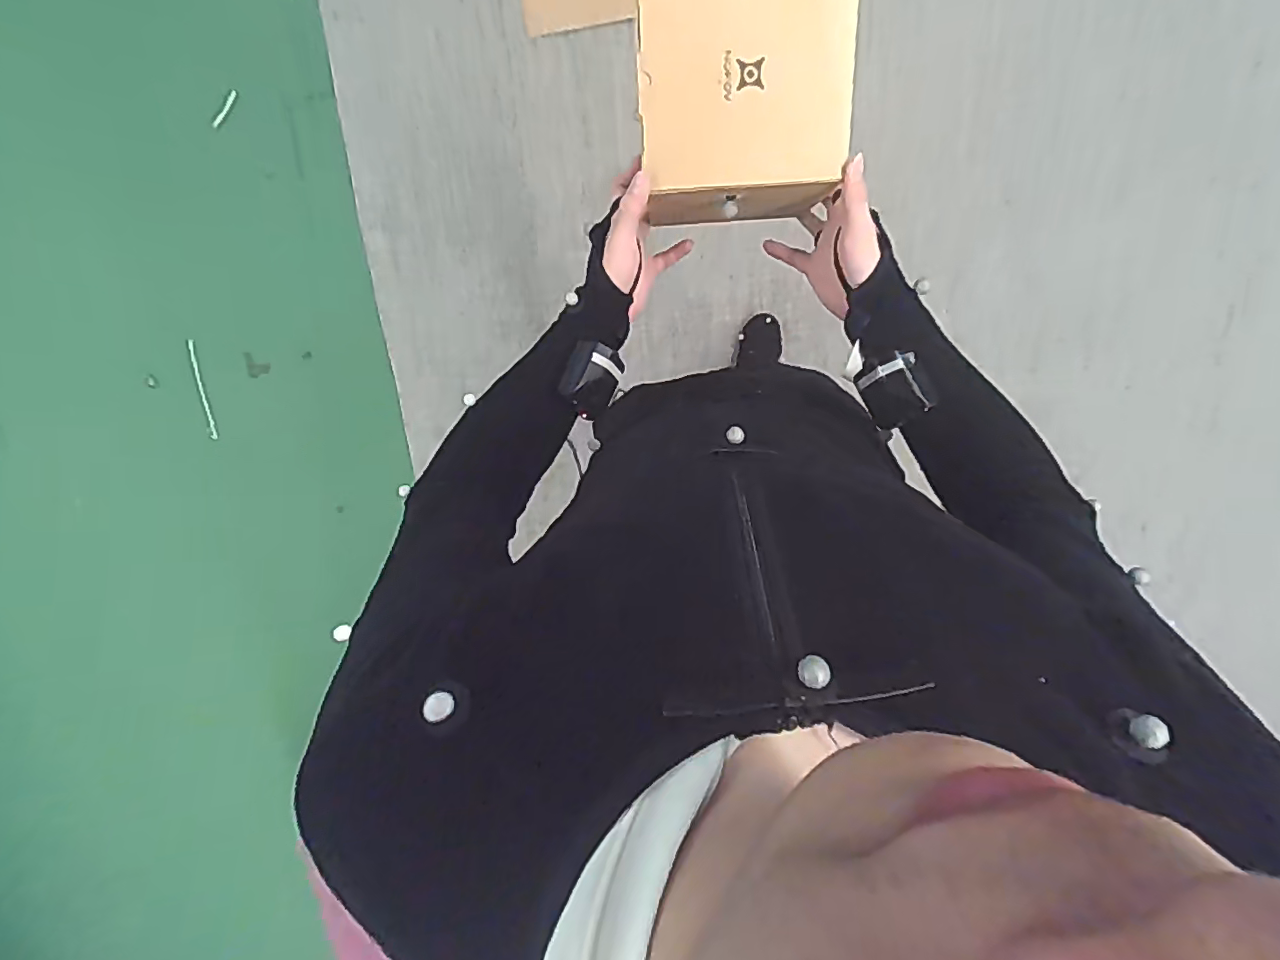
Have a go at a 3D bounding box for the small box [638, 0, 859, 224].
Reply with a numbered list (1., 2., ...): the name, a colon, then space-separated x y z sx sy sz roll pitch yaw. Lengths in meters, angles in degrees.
1. small box: 0.092 -0.350 0.518 0.179 0.176 0.168 -1 106 5
